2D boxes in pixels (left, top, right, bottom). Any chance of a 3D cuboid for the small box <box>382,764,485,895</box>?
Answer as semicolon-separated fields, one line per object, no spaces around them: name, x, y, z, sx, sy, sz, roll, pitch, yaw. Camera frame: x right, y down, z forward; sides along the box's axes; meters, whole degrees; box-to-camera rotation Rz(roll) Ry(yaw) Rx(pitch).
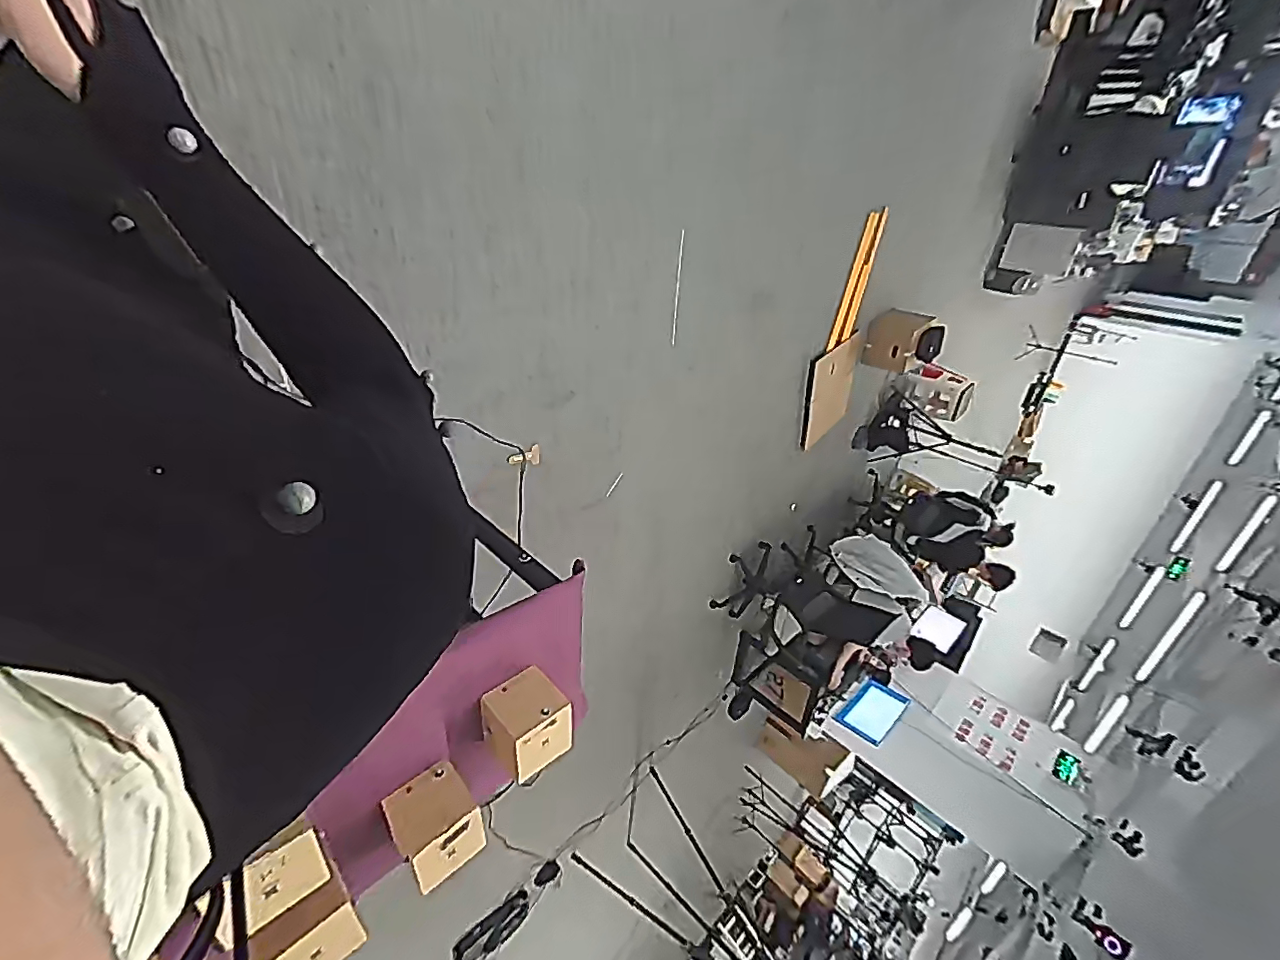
small box;-0.494;0.822;1.294;0.168;0.176;0.179;-24;130;-39

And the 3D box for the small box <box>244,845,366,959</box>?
small box;-0.697;0.908;1.114;0.168;0.176;0.179;-25;130;-39

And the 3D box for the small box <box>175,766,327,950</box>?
small box;-0.687;0.659;0.962;0.168;0.176;0.179;-23;130;-41

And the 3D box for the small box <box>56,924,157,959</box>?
small box;-0.890;0.880;0.870;0.168;0.176;0.179;-22;127;-41

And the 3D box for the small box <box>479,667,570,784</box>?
small box;-0.298;0.625;1.396;0.168;0.176;0.179;-22;129;-39
